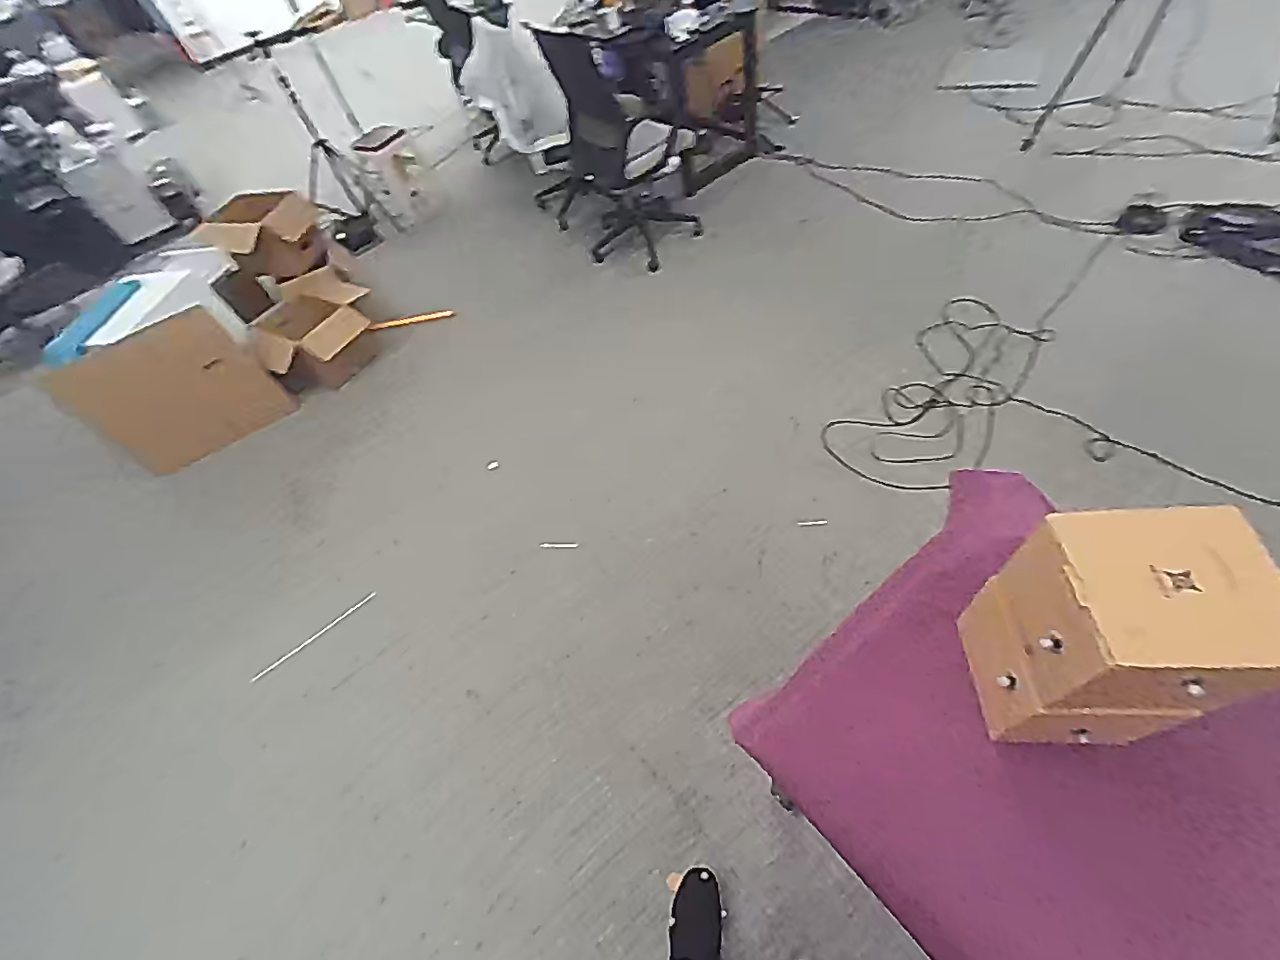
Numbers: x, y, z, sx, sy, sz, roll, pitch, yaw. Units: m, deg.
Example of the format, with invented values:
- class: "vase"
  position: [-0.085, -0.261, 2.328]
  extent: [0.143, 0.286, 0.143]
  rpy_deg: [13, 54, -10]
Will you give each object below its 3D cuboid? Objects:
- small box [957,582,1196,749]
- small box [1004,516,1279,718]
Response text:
- class: "small box"
  position: [0.552, 0.249, 0.719]
  extent: [0.168, 0.176, 0.179]
  rpy_deg: [-3, 54, 10]
- class: "small box"
  position: [0.530, 0.154, 0.588]
  extent: [0.179, 0.176, 0.168]
  rpy_deg: [-3, 55, 10]
